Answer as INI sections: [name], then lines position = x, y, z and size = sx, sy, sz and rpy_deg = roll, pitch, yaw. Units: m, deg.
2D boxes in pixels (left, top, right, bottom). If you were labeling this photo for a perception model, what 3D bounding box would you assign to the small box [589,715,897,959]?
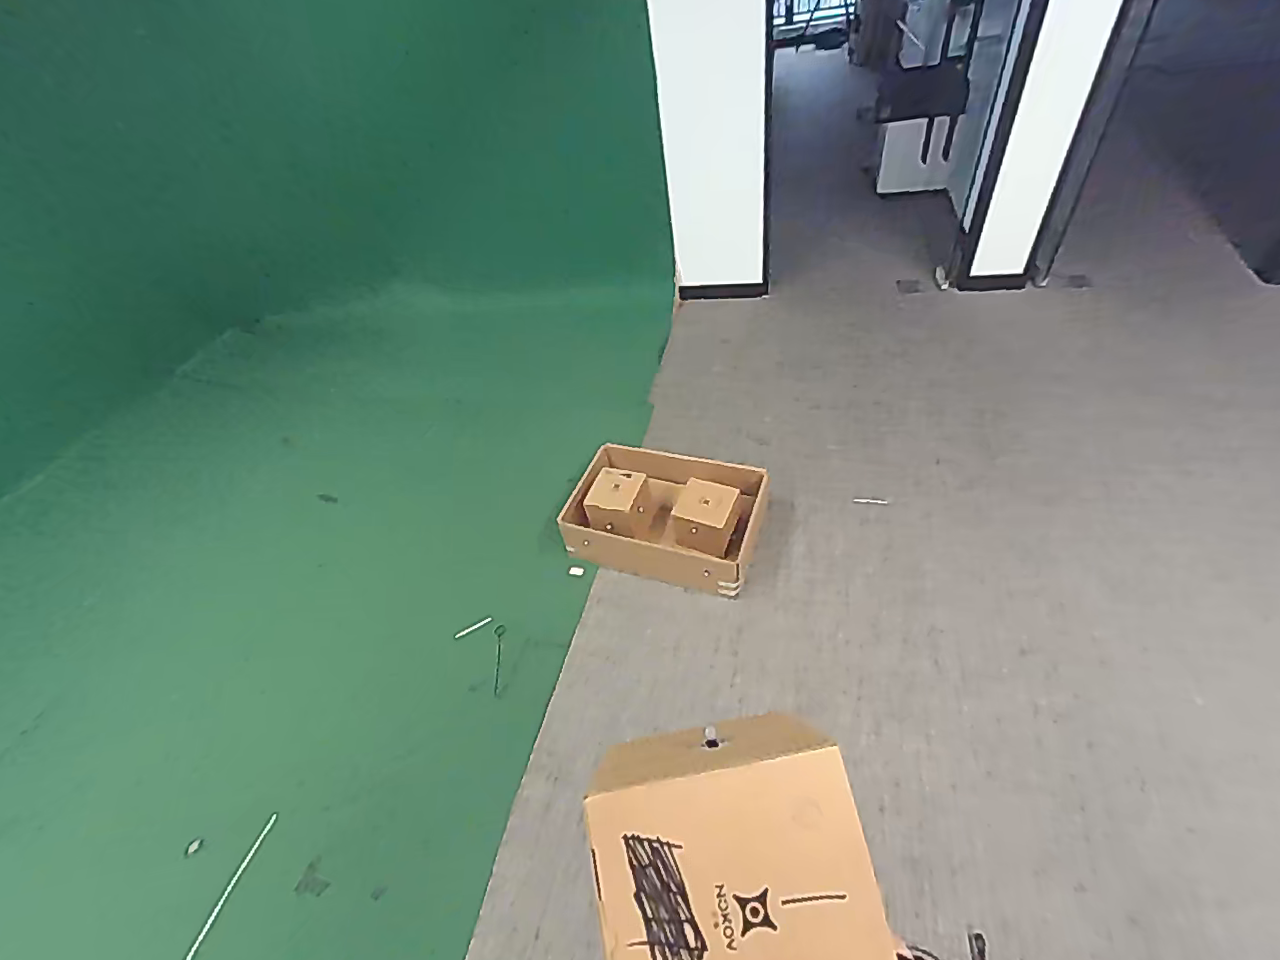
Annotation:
[small box]
position = 0.067, 0.291, 0.416
size = 0.179, 0.176, 0.168
rpy_deg = -10, 74, -1
